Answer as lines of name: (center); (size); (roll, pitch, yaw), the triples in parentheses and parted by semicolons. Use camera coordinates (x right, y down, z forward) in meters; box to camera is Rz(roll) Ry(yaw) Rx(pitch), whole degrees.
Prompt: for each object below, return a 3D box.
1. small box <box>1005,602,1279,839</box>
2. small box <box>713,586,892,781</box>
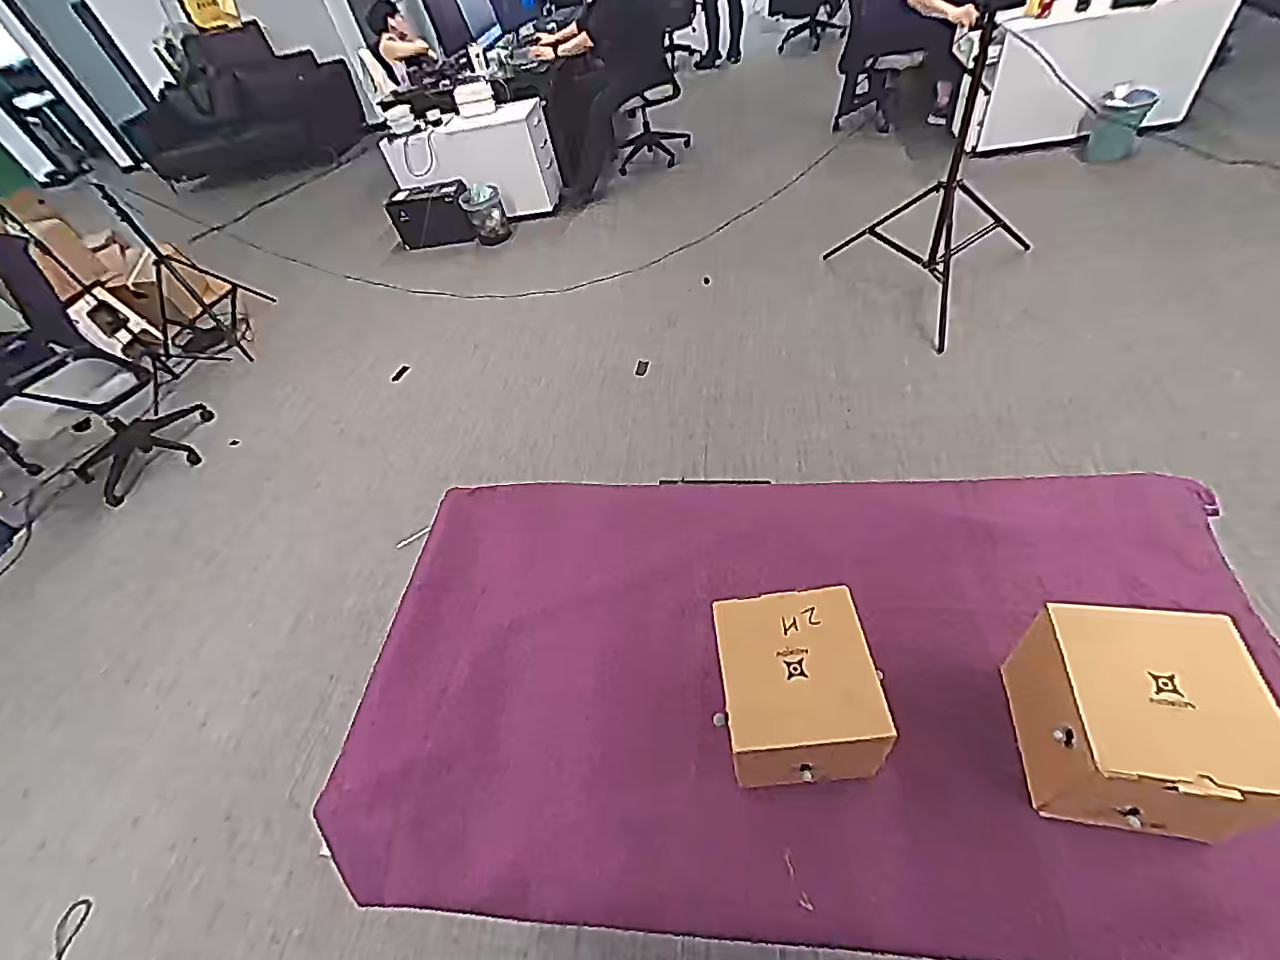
small box: (0.523, 0.256, 0.581); (0.168, 0.176, 0.179); (1, 49, 15)
small box: (0.187, 0.256, 0.662); (0.168, 0.176, 0.179); (-8, 48, 6)
